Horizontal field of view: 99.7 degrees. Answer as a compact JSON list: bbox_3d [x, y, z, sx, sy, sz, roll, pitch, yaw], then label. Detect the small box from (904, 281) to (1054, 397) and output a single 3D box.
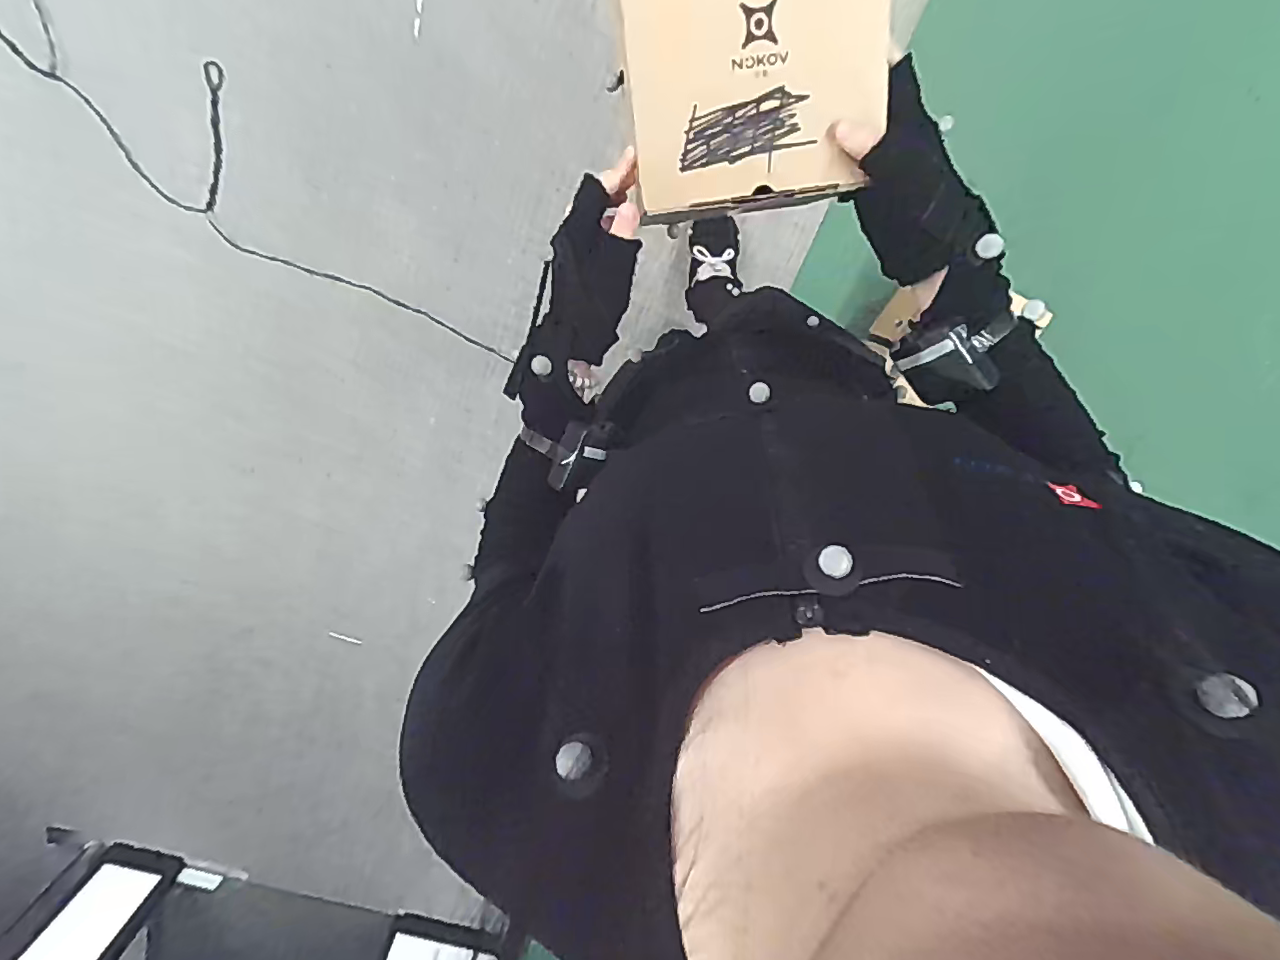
[{"bbox_3d":[0.693,-0.303,1.133,0.168,0.176,0.179,24,111,-7],"label":"small box"}]
